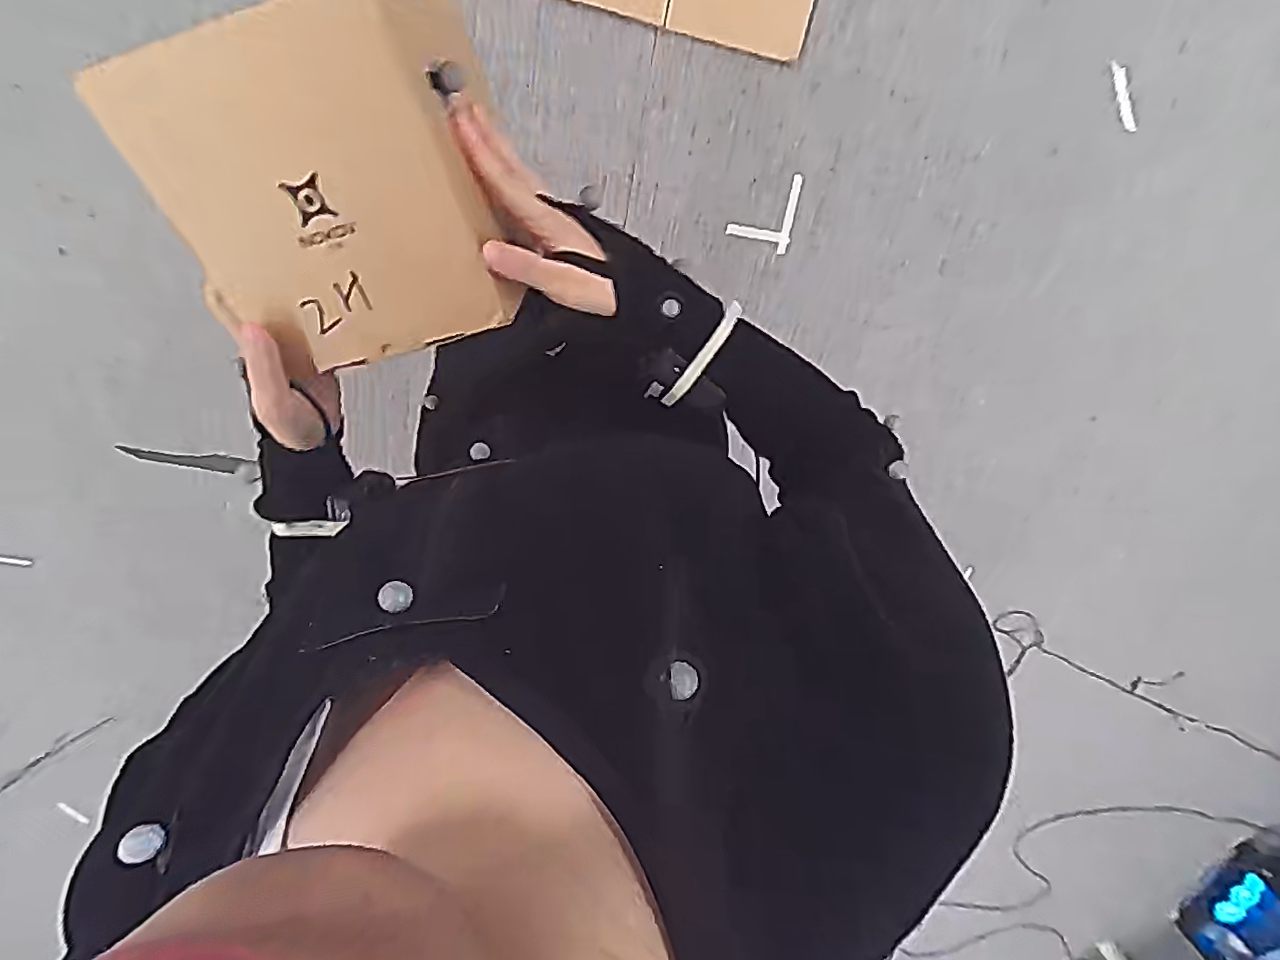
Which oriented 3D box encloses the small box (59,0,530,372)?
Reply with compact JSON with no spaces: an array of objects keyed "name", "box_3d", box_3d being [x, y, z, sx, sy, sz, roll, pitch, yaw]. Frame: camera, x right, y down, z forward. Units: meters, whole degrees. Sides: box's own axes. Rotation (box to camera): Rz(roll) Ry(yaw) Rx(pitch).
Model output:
[{"name":"small box","box_3d":[-0.188,-0.202,0.366,0.168,0.176,0.179,-13,125,7]}]
